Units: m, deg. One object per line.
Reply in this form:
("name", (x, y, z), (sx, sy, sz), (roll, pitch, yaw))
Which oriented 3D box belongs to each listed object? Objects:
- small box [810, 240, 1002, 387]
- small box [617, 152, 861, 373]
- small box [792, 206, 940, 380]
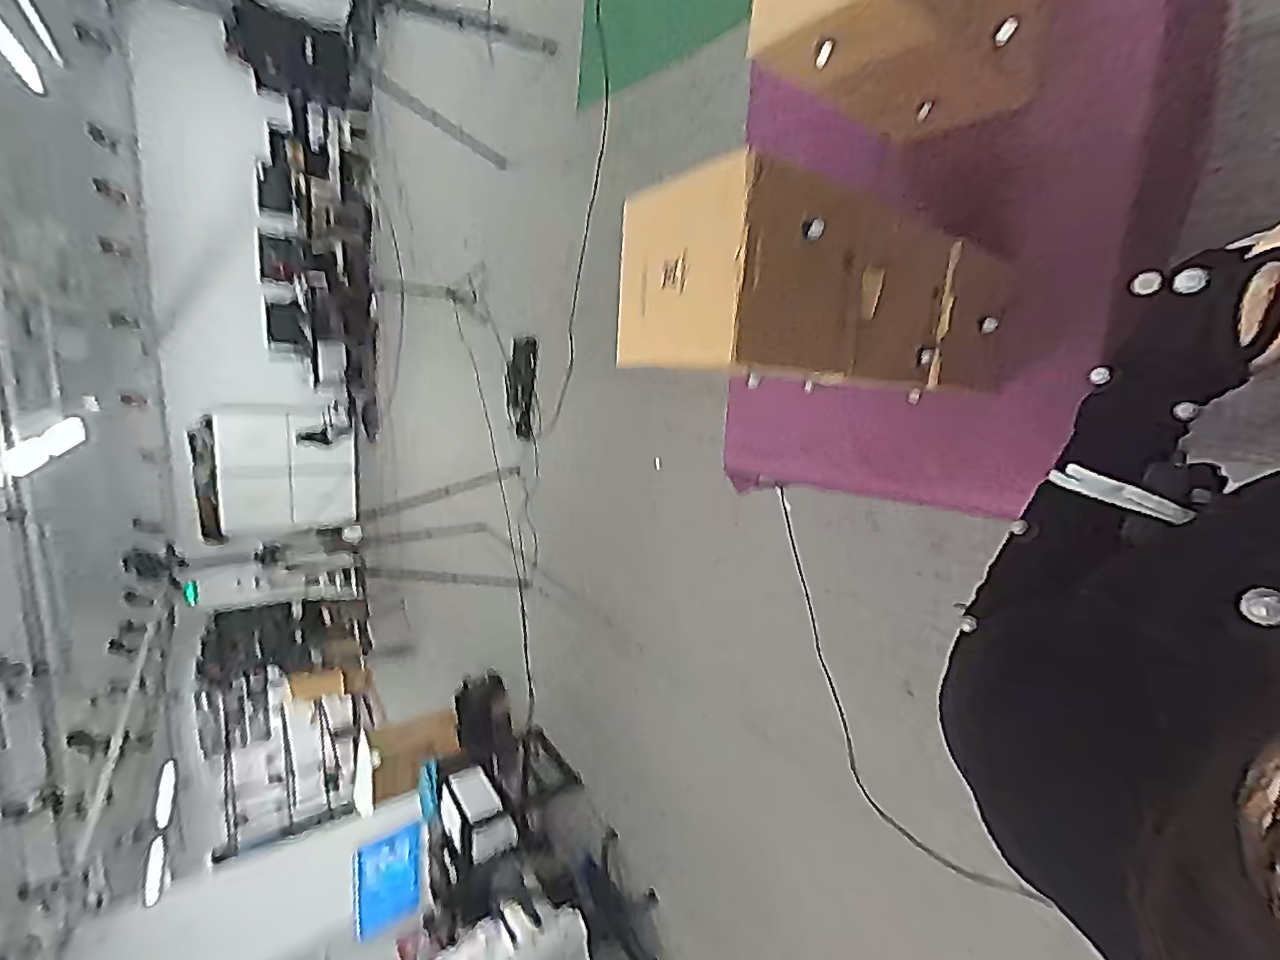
("small box", (0.361, -0.217, 0.739), (0.179, 0.176, 0.168), (18, 107, 50))
("small box", (0.096, -0.198, 0.547), (0.179, 0.176, 0.168), (17, 106, 52))
("small box", (0.225, -0.210, 0.646), (0.179, 0.176, 0.168), (20, 110, 52))
